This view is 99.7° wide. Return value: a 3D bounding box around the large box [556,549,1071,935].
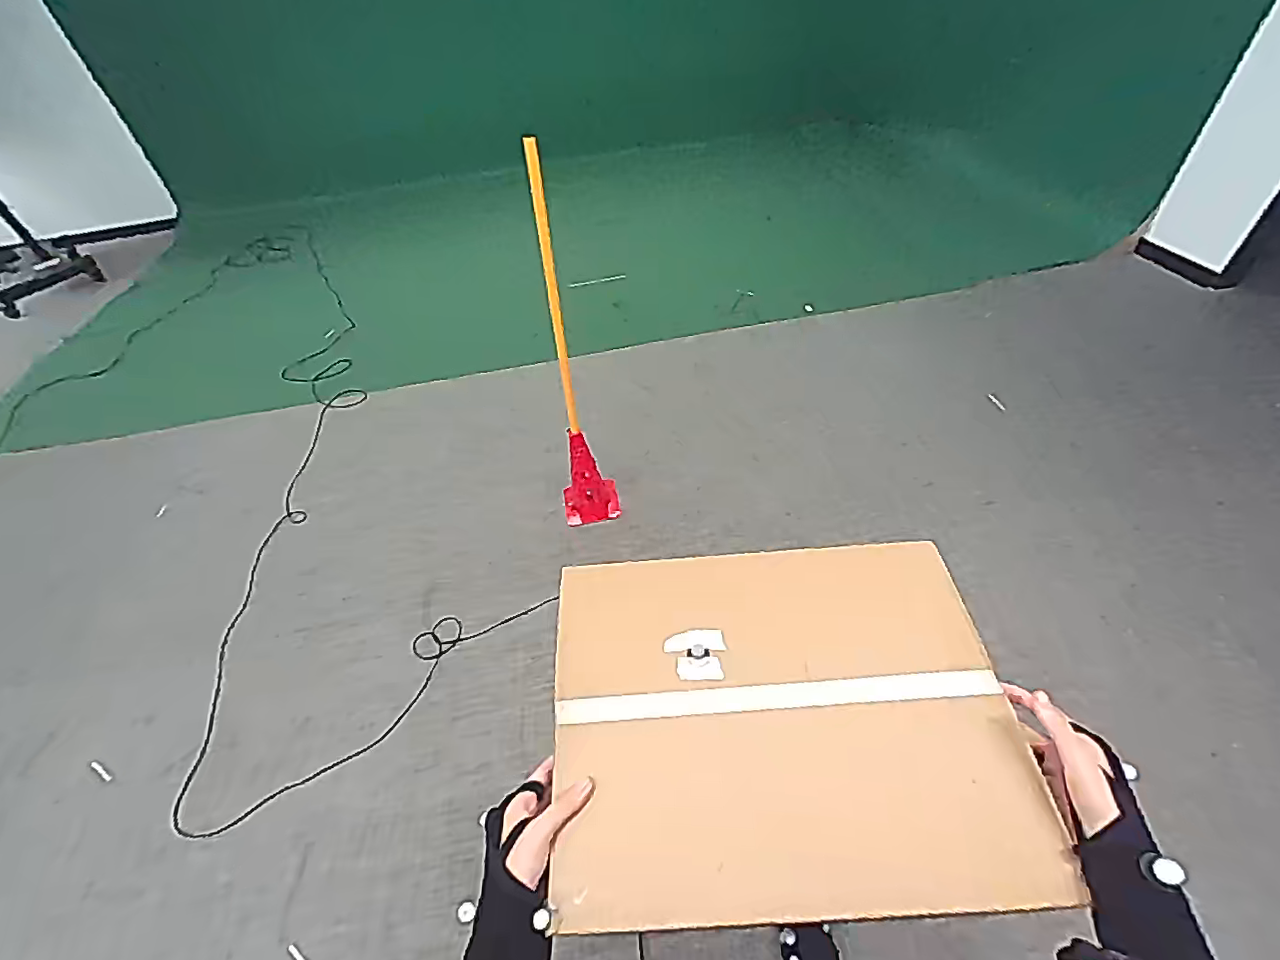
[{"bbox_3d":[0.138,0.304,0.622,0.408,0.320,0.320,-5,51,2],"label":"large box"}]
